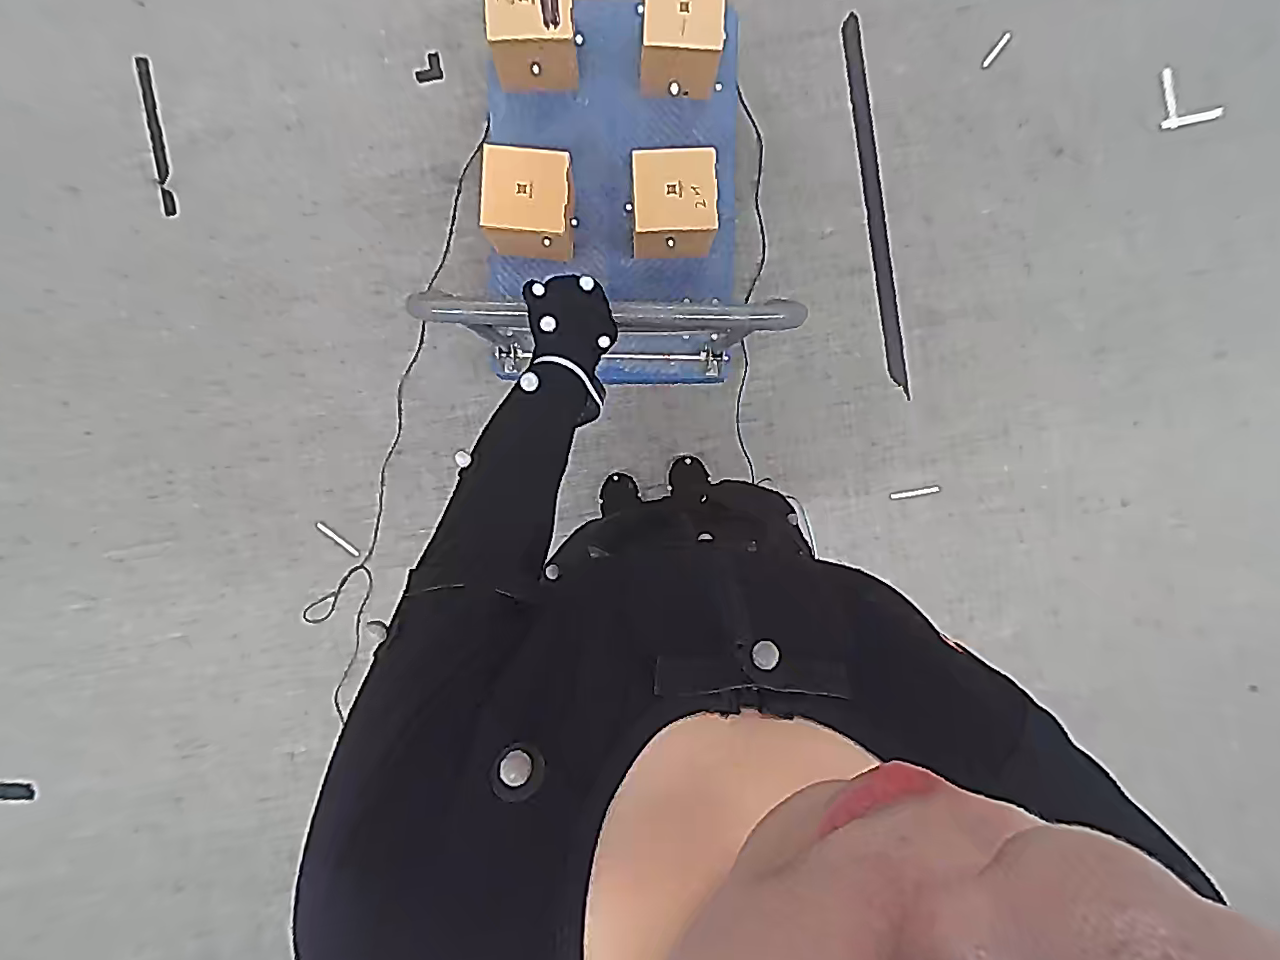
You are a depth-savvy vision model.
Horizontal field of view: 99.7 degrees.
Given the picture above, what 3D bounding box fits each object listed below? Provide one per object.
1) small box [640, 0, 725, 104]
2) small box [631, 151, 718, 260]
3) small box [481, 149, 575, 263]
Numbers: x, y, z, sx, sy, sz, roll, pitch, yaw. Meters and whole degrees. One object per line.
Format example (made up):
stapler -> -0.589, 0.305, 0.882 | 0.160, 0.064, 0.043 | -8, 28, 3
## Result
small box -> 0.086, -0.965, 1.175 | 0.168, 0.176, 0.179 | 2, 94, -2
small box -> 0.070, -0.597, 1.196 | 0.179, 0.176, 0.168 | -3, 94, -2
small box -> -0.239, -0.591, 1.186 | 0.179, 0.176, 0.168 | 3, 93, -4
